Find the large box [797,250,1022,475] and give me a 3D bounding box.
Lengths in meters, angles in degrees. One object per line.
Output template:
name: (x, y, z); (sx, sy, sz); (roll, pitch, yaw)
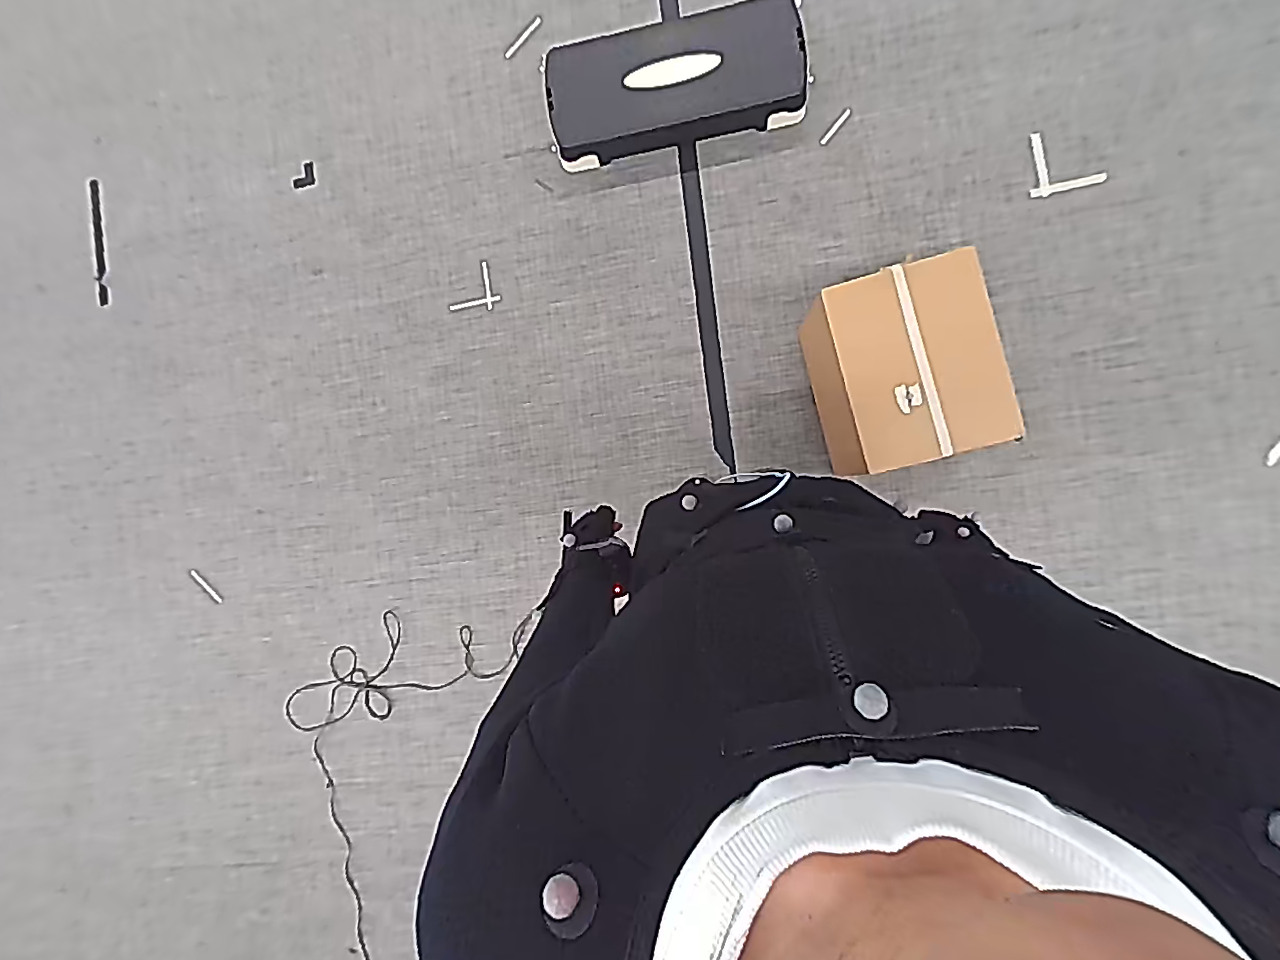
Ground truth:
large box: (0.589, -0.243, 1.257); (0.320, 0.320, 0.408); (-15, 89, 8)
